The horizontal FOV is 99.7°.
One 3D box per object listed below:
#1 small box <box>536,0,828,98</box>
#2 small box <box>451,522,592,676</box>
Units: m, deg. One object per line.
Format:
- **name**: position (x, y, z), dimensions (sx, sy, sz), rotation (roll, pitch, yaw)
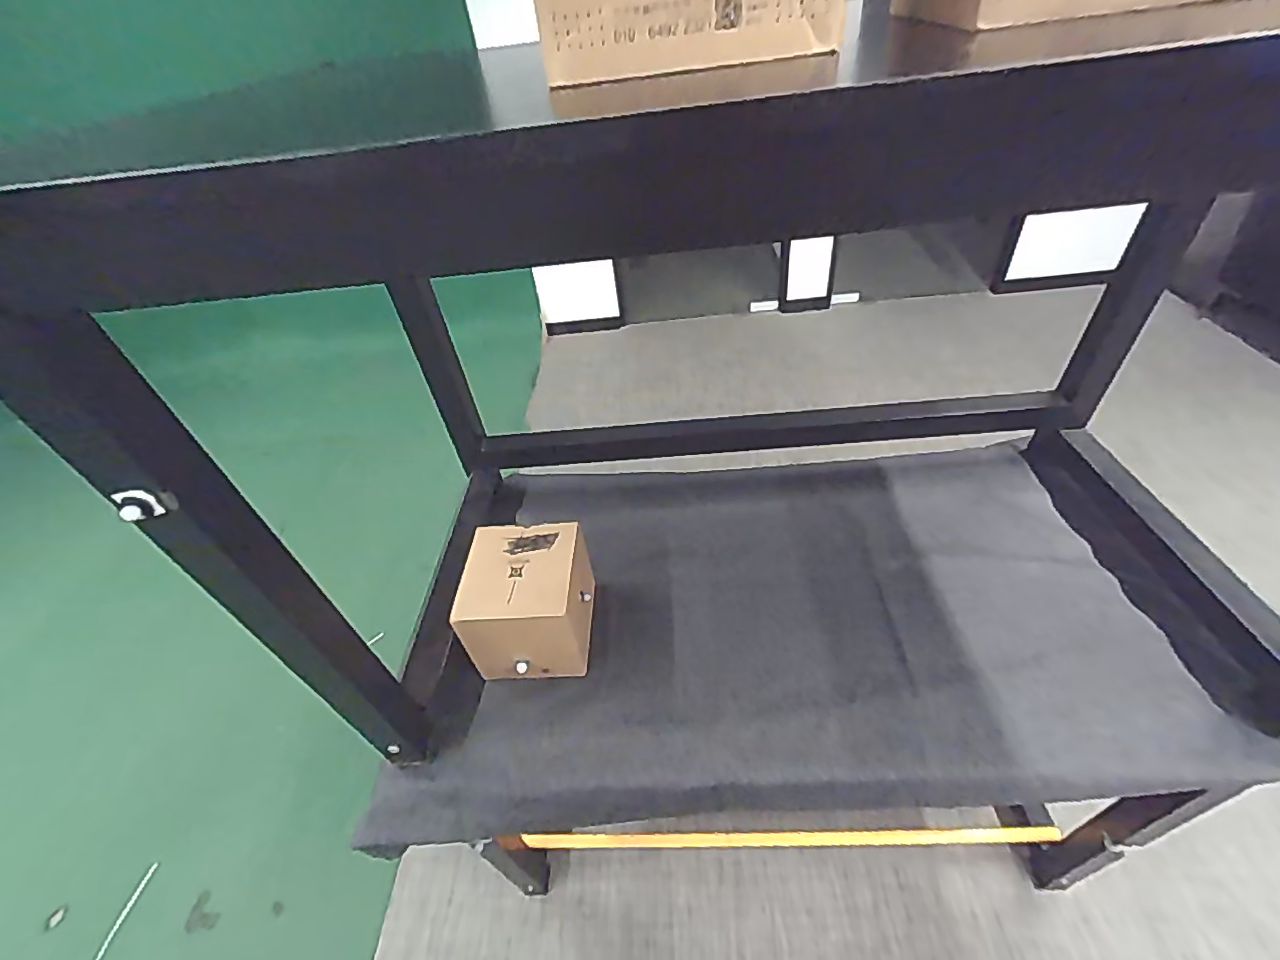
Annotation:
- **small box**: position (0.021, -0.346, 0.327), dimensions (0.168, 0.176, 0.179), rotation (-3, 42, 5)
- **small box**: position (-0.173, 0.188, 0.856), dimensions (0.168, 0.176, 0.179), rotation (-4, 42, 4)
